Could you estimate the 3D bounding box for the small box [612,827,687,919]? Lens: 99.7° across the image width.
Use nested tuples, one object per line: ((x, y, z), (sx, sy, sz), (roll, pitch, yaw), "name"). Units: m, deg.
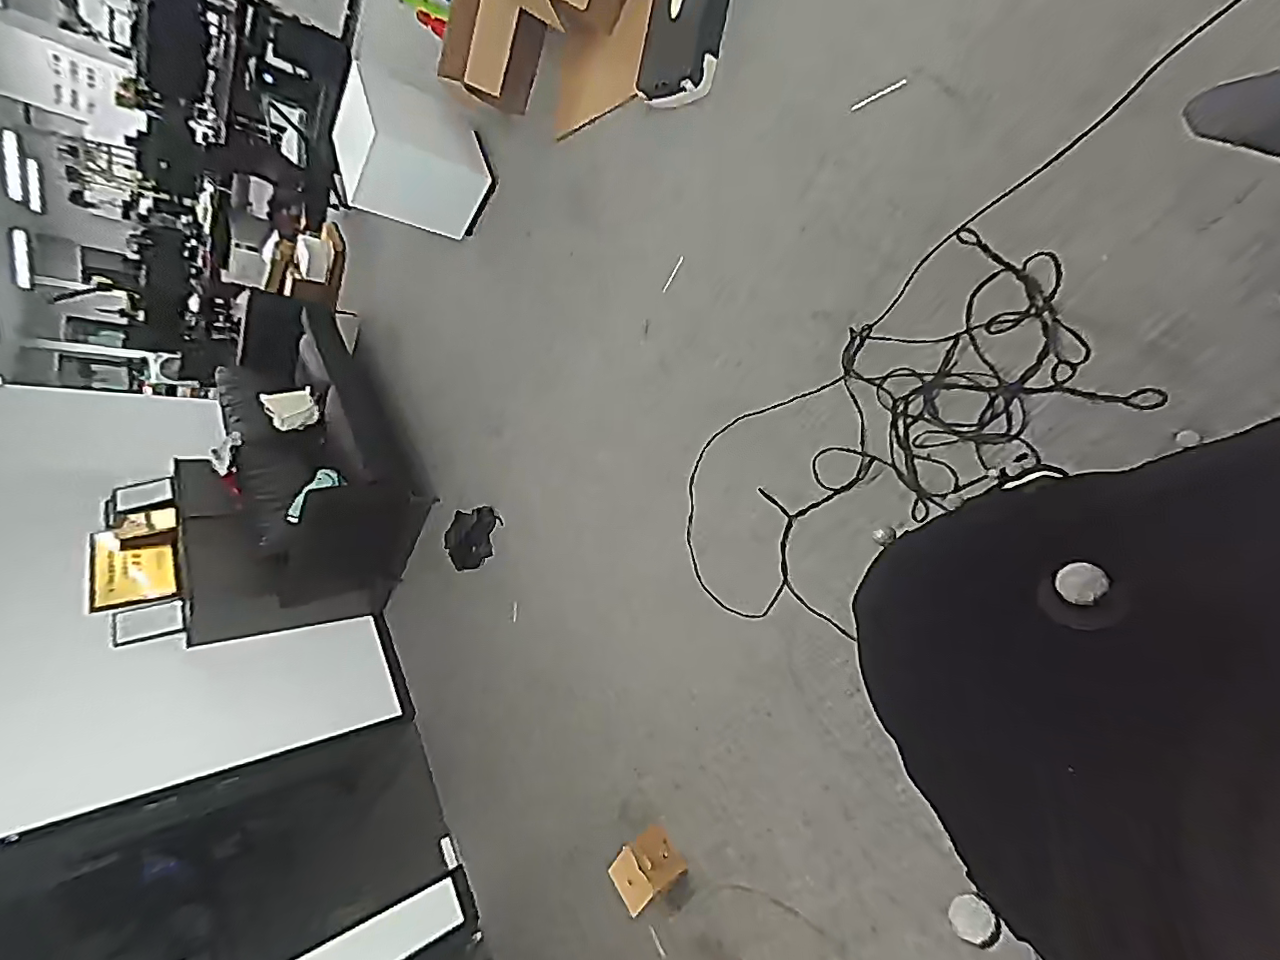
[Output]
((0.036, 1.361, 1.880), (0.168, 0.176, 0.179), (45, 120, 36), "small box")
